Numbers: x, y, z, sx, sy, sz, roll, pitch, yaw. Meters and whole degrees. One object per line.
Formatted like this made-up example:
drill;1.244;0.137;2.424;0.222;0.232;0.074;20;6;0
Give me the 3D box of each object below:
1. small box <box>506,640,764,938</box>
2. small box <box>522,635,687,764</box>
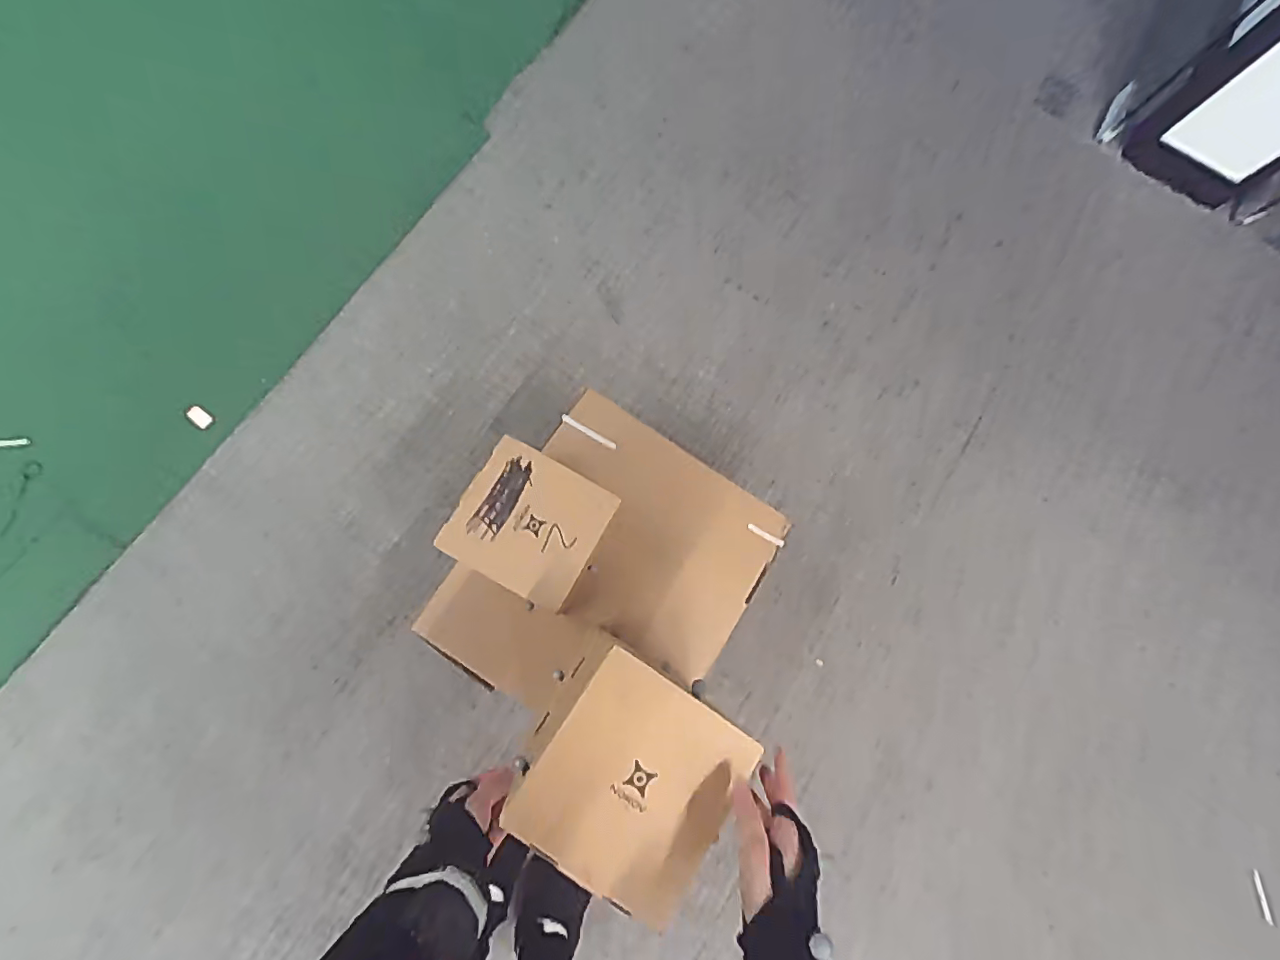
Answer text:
small box;-0.010;0.281;0.545;0.168;0.176;0.179;35;77;2
small box;-0.027;0.317;0.703;0.179;0.176;0.168;34;77;2
